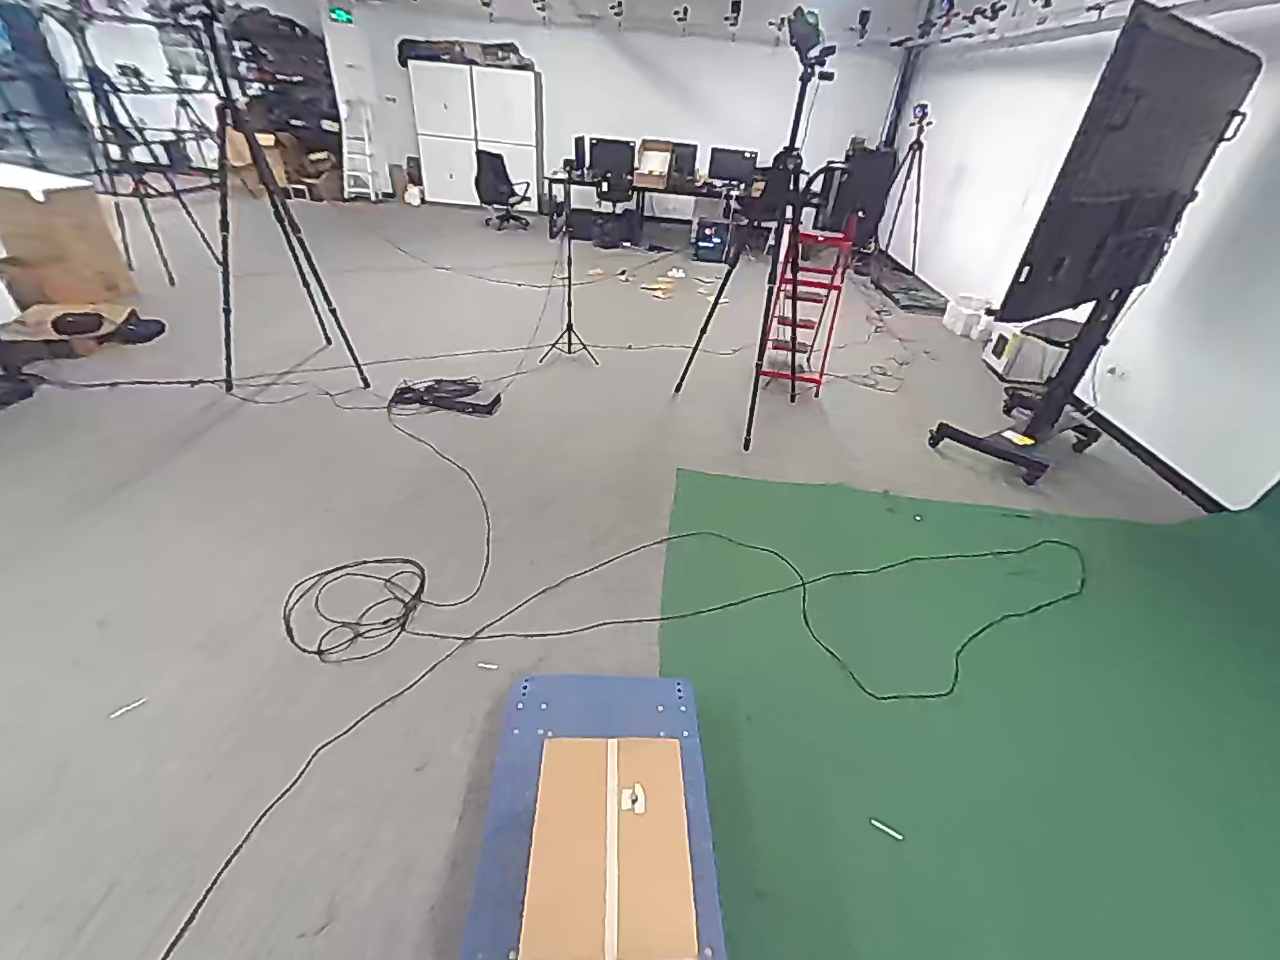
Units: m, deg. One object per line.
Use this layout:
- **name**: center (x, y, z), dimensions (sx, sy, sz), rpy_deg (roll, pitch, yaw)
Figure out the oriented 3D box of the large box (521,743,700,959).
- **large box**: center (-0.068, 0.841, 1.160), dimensions (0.320, 0.320, 0.408), rpy_deg (3, 34, -4)
